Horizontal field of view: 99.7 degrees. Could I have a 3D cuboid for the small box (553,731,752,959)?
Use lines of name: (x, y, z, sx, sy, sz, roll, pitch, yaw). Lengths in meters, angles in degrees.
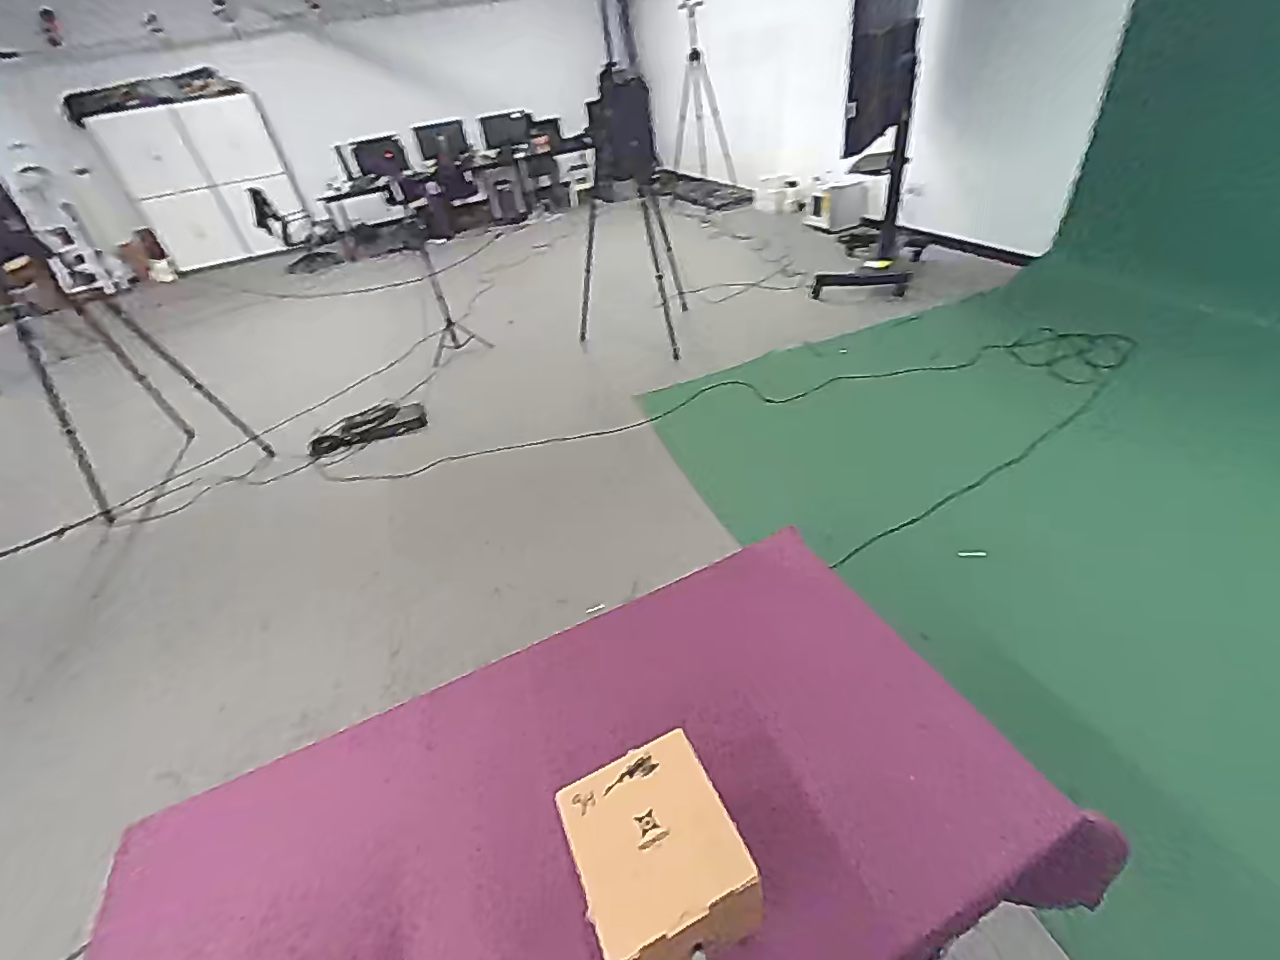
small box: (0.017, 0.440, 0.628, 0.168, 0.176, 0.179, -21, 40, -14)
